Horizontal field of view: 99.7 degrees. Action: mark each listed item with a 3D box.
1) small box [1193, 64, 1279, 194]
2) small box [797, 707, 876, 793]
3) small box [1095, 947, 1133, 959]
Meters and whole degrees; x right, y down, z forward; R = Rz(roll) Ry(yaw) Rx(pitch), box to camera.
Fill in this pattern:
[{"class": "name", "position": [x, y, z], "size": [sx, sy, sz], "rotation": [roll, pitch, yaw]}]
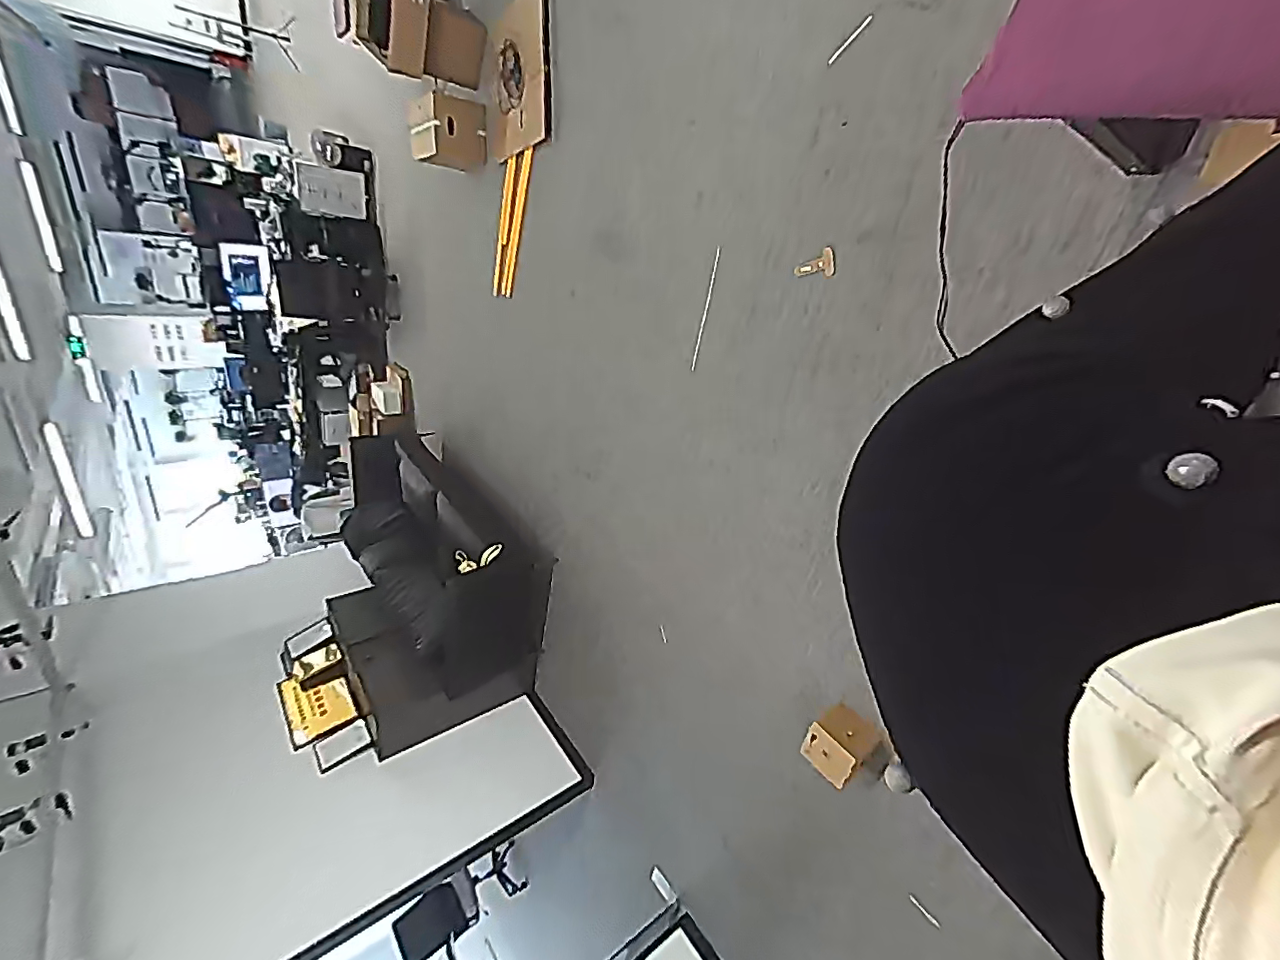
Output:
[{"class": "small box", "position": [1.126, -0.608, 0.946], "size": [0.168, 0.176, 0.179], "rotation": [26, 119, 45]}, {"class": "small box", "position": [0.689, 0.933, 1.887], "size": [0.179, 0.176, 0.168], "rotation": [36, 126, 39]}, {"class": "small box", "position": [1.213, 1.330, 1.346], "size": [0.168, 0.176, 0.179], "rotation": [35, 126, 40]}]
